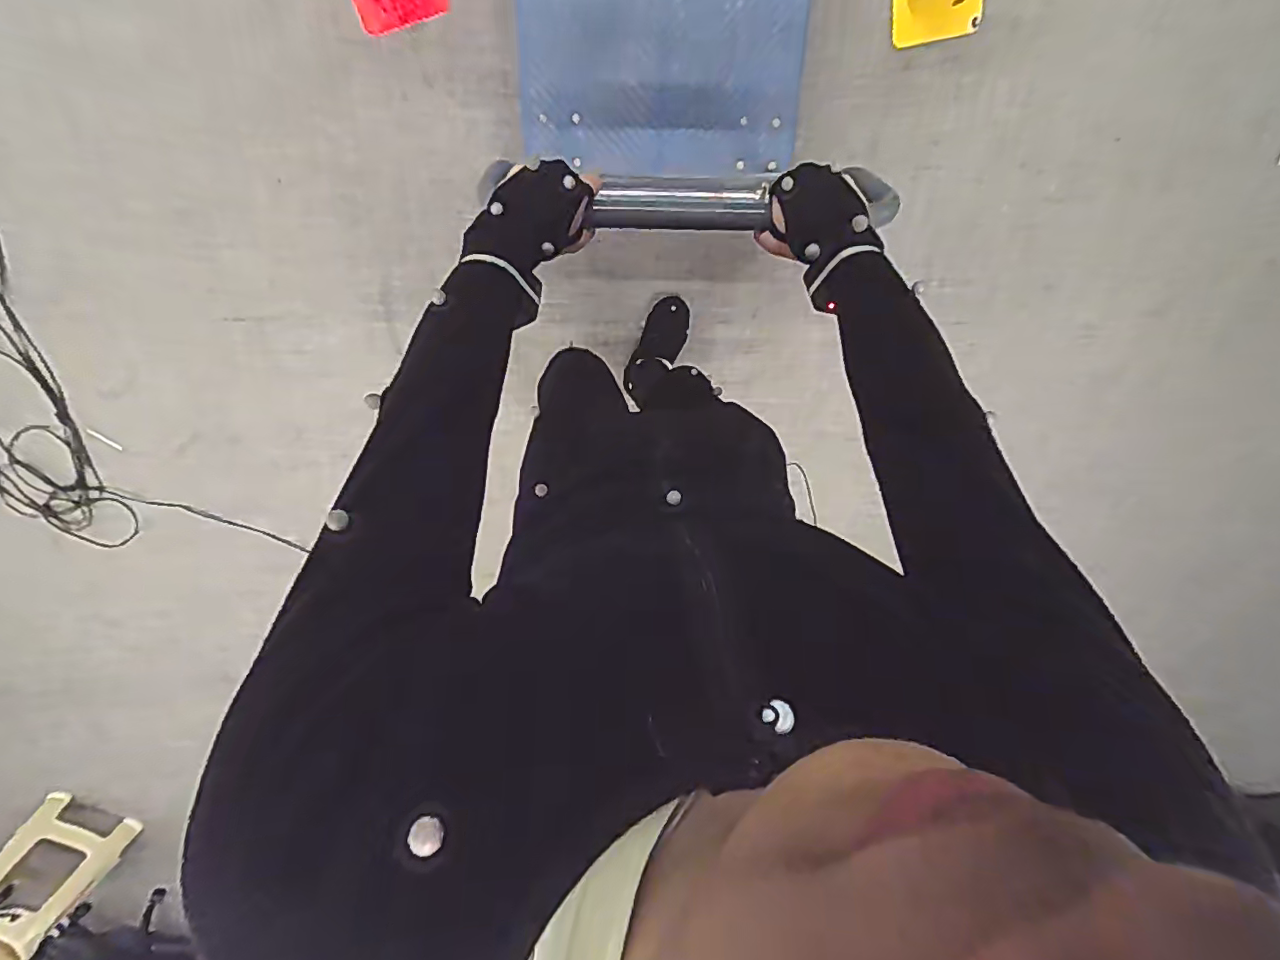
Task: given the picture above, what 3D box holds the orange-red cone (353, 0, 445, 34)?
[{"bbox_3d":[-0.528,-1.012,0.987,0.199,0.360,0.198,-13,113,5],"label":"orange-red cone"}]
